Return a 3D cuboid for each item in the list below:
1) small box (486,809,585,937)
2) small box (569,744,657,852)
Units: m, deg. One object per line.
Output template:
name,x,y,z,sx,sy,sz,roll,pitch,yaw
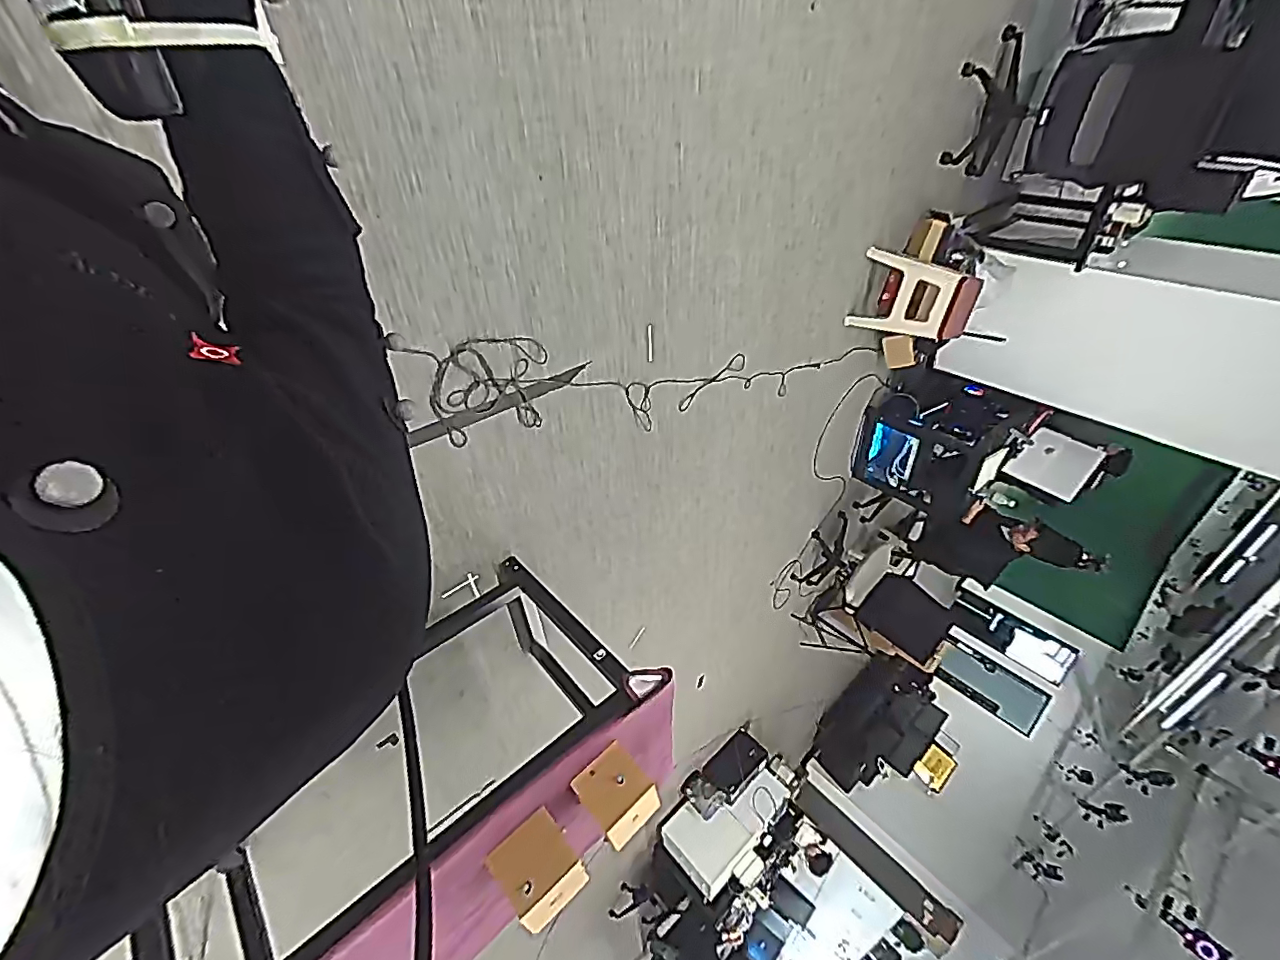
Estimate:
small box,-0.266,0.980,1.358,0.179,0.176,0.168,-33,138,-27
small box,-0.076,0.867,1.488,0.168,0.176,0.179,-35,138,-25
